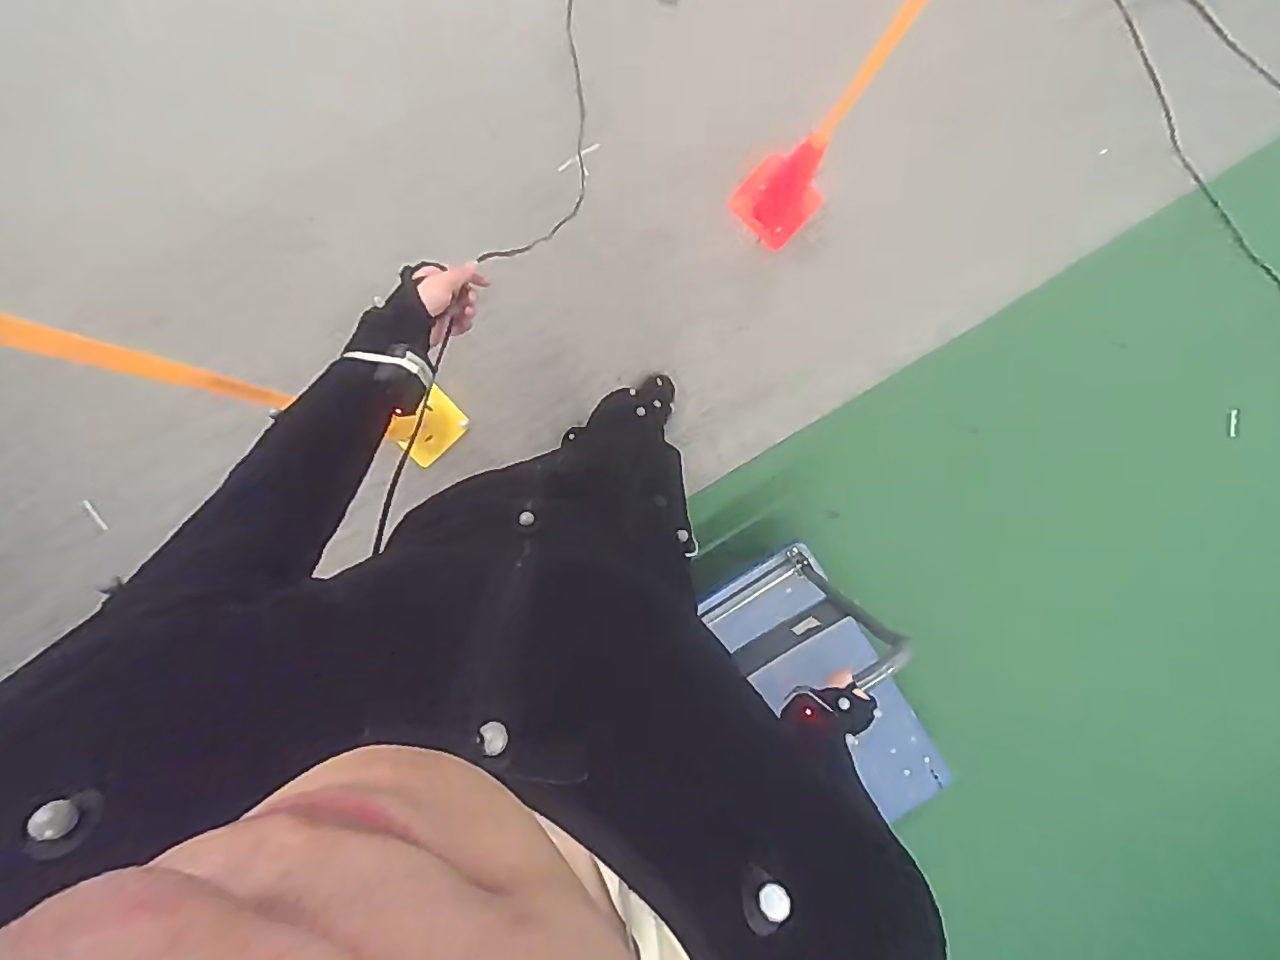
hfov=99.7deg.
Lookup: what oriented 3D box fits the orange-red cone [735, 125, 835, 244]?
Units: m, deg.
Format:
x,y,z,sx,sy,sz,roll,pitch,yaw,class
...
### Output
x,y,z,sx,sy,sz,roll,pitch,yaw,class
0.398,-0.774,1.346,0.198,0.360,0.199,44,93,-7,orange-red cone
